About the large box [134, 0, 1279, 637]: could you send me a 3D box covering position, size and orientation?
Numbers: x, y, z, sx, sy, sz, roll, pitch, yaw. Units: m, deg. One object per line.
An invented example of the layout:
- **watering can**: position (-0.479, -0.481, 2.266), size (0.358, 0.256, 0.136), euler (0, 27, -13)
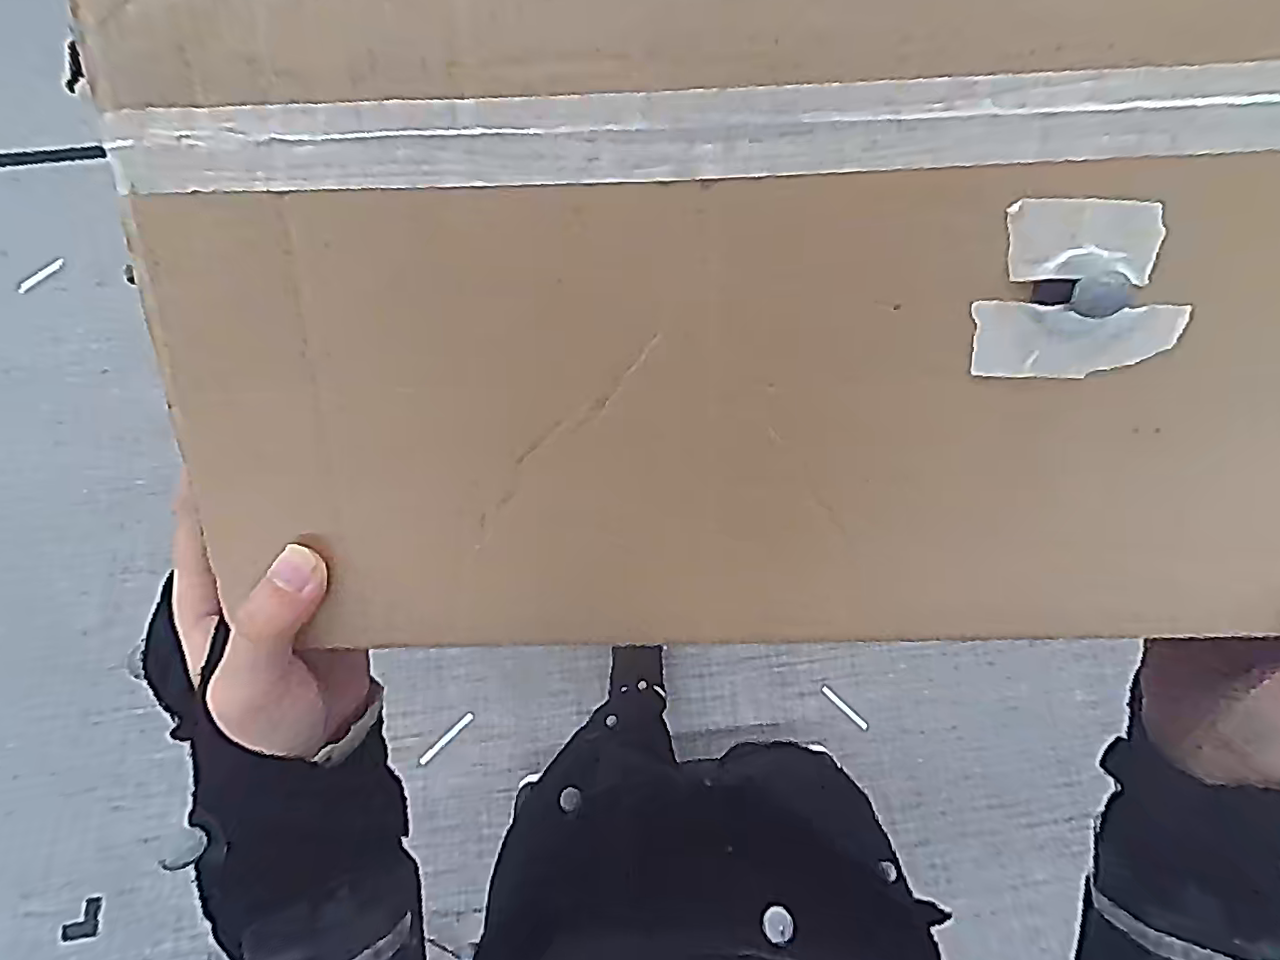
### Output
- **large box**: position (0.054, -0.133, 0.306), size (0.408, 0.320, 0.320), euler (-2, 104, 0)
